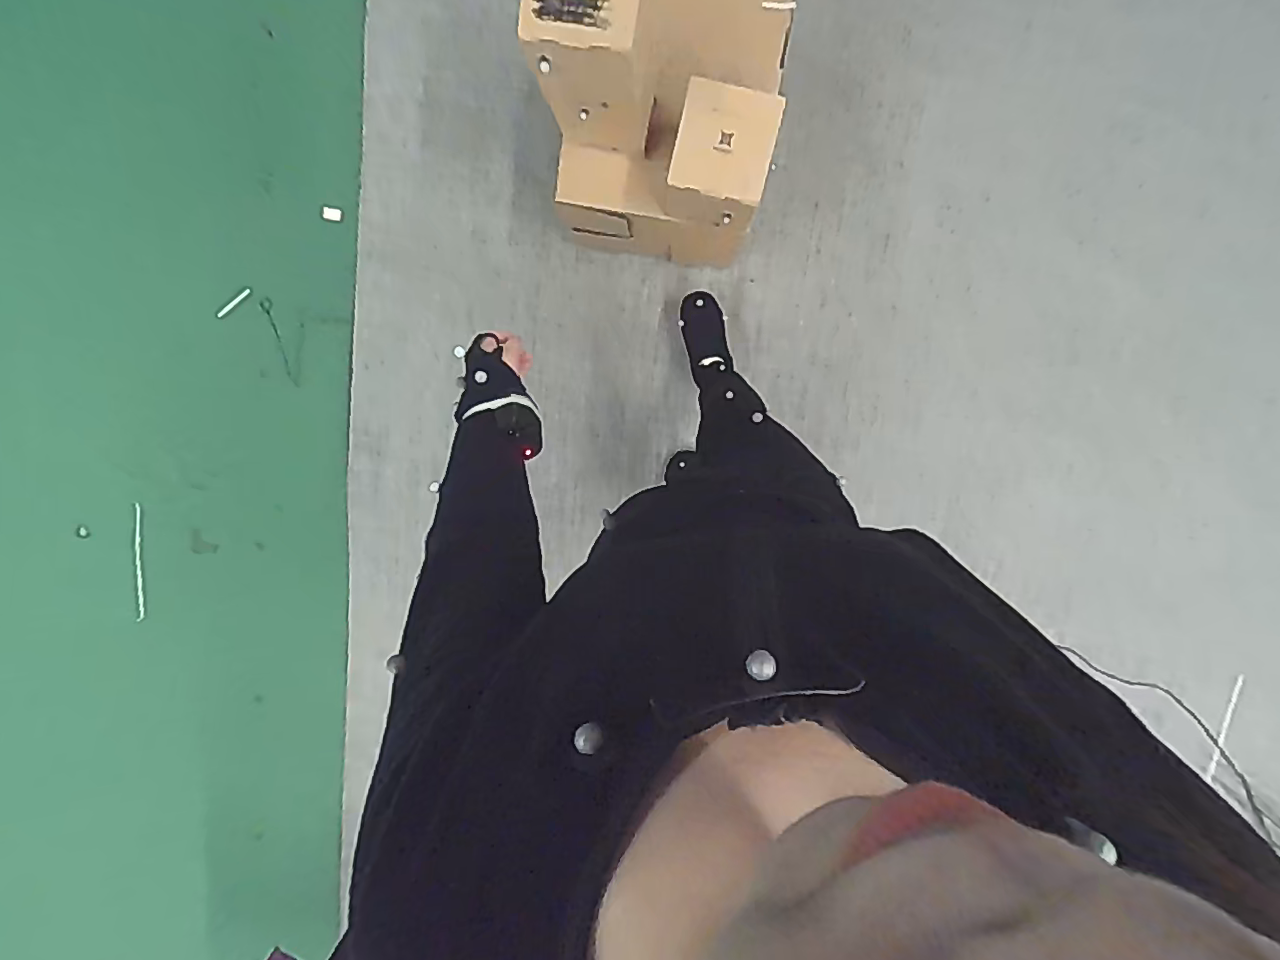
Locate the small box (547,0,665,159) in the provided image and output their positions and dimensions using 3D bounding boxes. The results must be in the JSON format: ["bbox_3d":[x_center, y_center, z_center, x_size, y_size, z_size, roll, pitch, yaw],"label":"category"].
[{"bbox_3d":[-0.054,-0.723,0.977,0.168,0.176,0.179,14,98,3],"label":"small box"}]

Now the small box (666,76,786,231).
[{"bbox_3d":[0.148,-0.578,0.984,0.168,0.176,0.179,14,98,0],"label":"small box"}]
